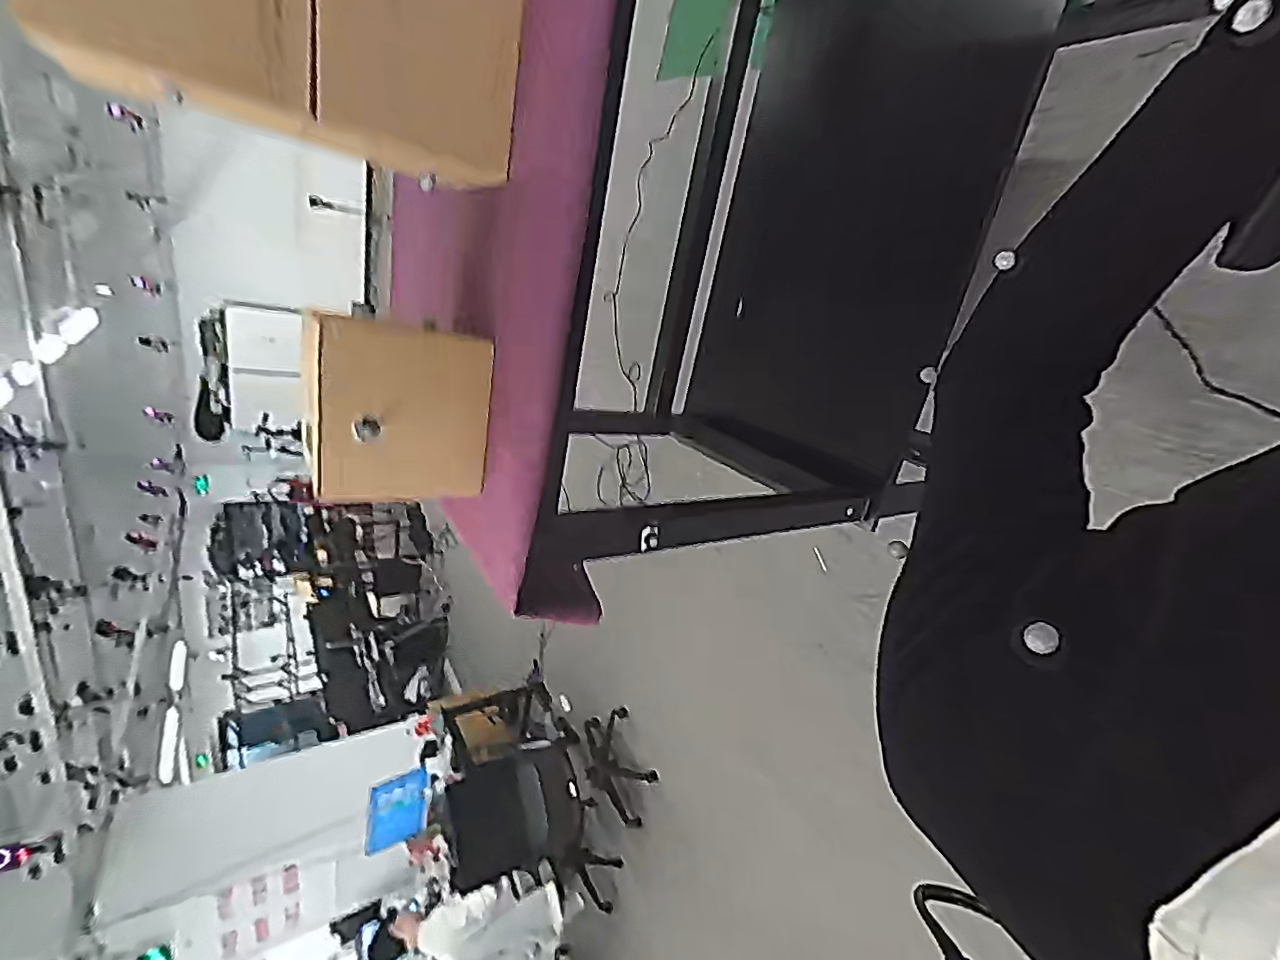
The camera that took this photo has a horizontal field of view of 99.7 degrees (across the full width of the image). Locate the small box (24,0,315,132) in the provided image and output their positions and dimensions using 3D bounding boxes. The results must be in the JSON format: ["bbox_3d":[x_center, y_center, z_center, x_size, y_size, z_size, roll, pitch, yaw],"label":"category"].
[{"bbox_3d":[-0.362,-0.407,0.437,0.179,0.176,0.168,35,118,49],"label":"small box"}]

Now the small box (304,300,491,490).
[{"bbox_3d":[-0.281,-0.098,0.621,0.168,0.176,0.179,30,114,50],"label":"small box"}]

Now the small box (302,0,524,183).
[{"bbox_3d":[-0.224,-0.410,0.525,0.168,0.176,0.179,35,120,49],"label":"small box"}]
